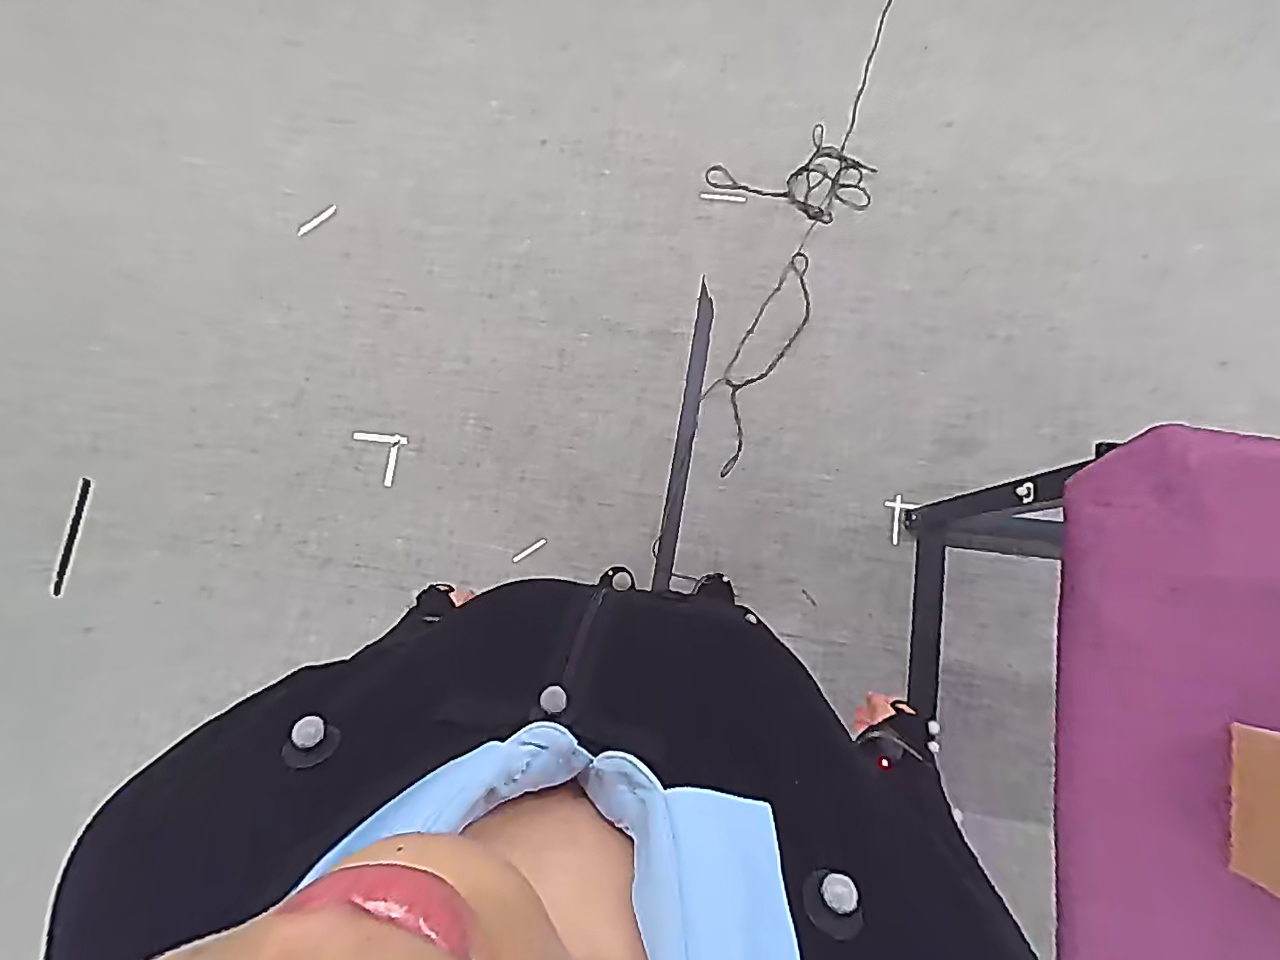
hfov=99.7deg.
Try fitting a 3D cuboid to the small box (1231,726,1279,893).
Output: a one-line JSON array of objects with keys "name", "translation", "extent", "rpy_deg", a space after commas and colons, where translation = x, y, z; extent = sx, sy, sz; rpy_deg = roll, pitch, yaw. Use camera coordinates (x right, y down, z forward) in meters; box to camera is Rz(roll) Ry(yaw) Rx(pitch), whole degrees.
[{"name": "small box", "translation": [0.808, 0.394, 0.585], "extent": [0.168, 0.176, 0.179], "rpy_deg": [9, 82, 6]}]
